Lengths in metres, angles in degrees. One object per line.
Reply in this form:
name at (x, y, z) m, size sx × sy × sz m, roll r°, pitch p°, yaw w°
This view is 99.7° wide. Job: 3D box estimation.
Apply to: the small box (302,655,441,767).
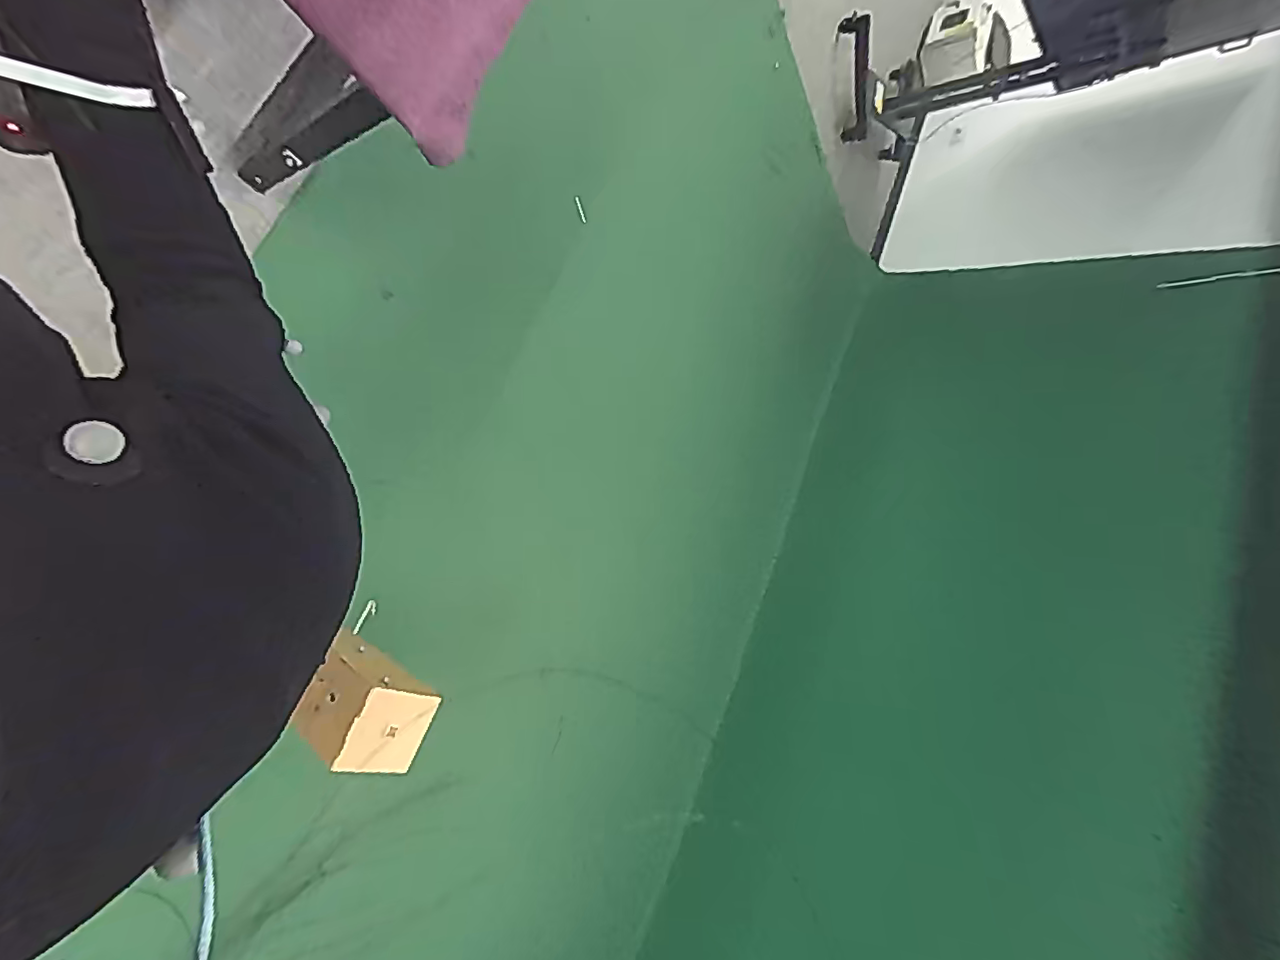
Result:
small box at (-0.577, 0.494, 1.164) m, size 0.179 × 0.176 × 0.168 m, roll 39°, pitch 70°, yaw -48°
